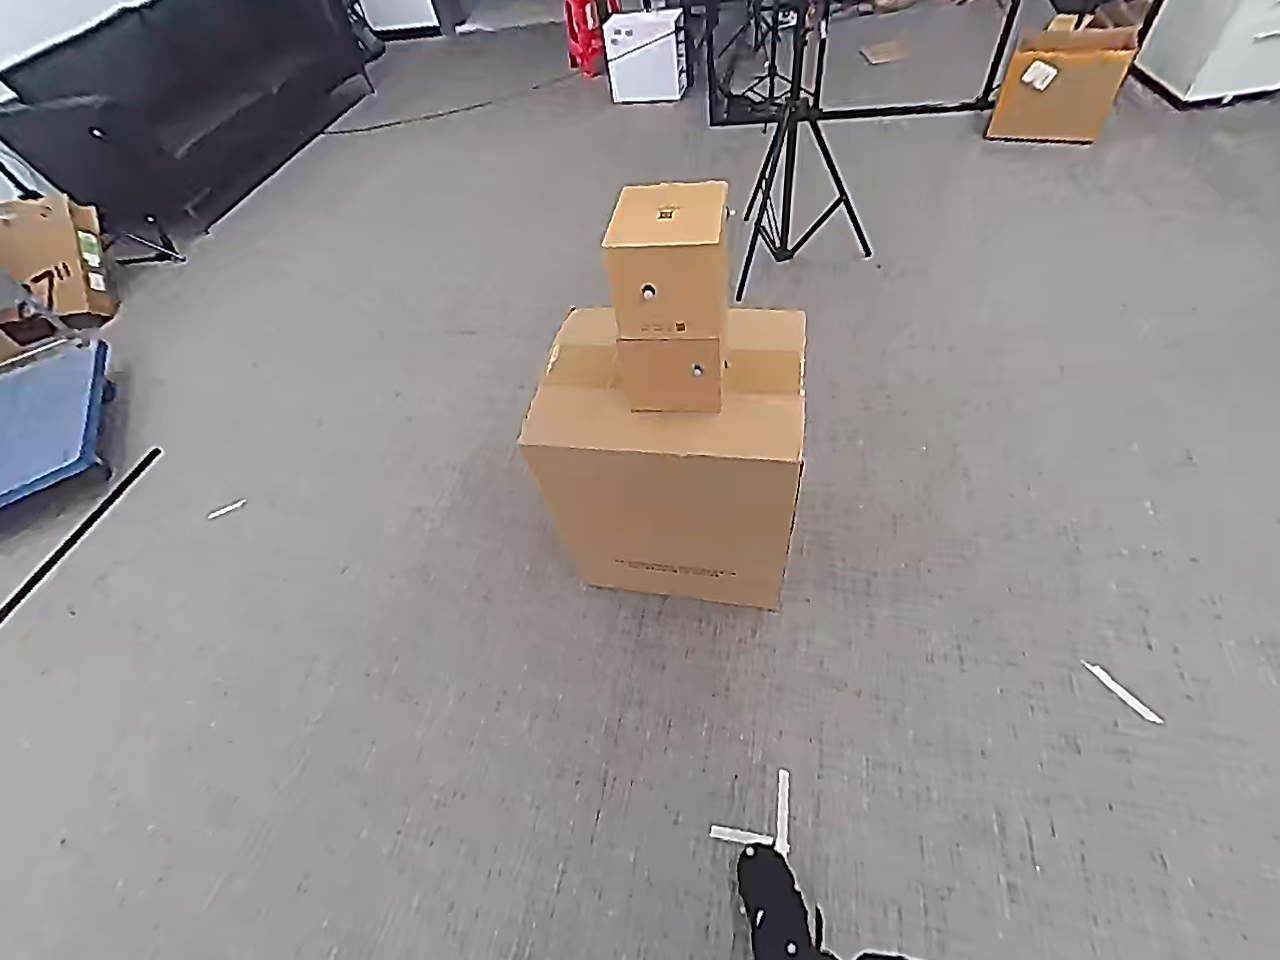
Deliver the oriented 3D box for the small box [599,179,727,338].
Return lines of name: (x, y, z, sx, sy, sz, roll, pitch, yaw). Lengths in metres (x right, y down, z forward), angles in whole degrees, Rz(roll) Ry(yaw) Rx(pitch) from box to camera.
small box: (0.047, -0.339, 0.846, 0.168, 0.176, 0.179, 3, 53, 11)
